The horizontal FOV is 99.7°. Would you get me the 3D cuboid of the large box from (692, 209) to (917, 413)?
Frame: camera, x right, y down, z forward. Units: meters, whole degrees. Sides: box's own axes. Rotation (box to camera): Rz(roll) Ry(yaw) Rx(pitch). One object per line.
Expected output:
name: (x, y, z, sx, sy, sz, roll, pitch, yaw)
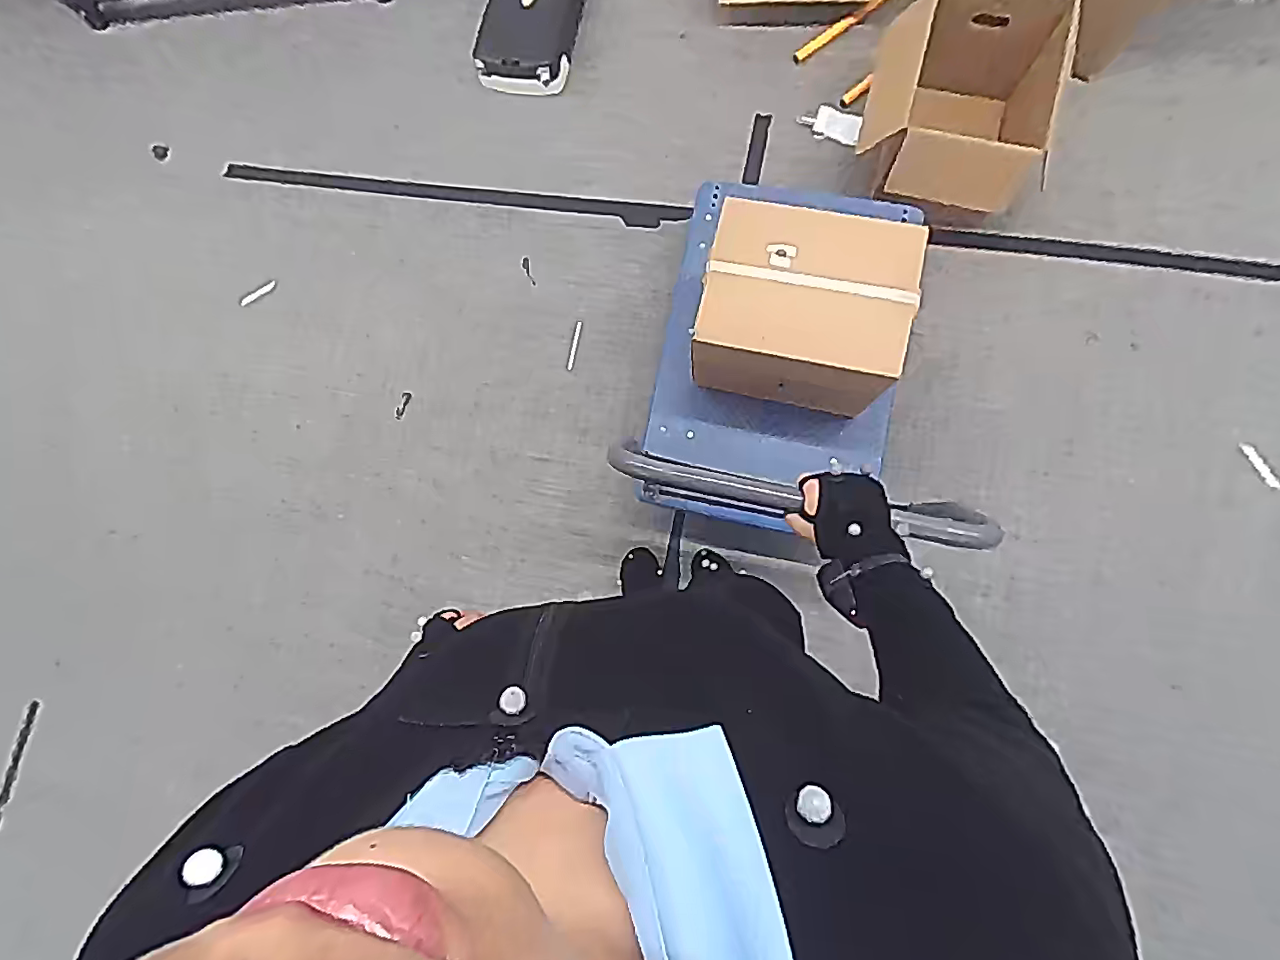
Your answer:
large box: (0.347, -0.362, 1.227, 0.408, 0.320, 0.320, 12, 83, 9)
